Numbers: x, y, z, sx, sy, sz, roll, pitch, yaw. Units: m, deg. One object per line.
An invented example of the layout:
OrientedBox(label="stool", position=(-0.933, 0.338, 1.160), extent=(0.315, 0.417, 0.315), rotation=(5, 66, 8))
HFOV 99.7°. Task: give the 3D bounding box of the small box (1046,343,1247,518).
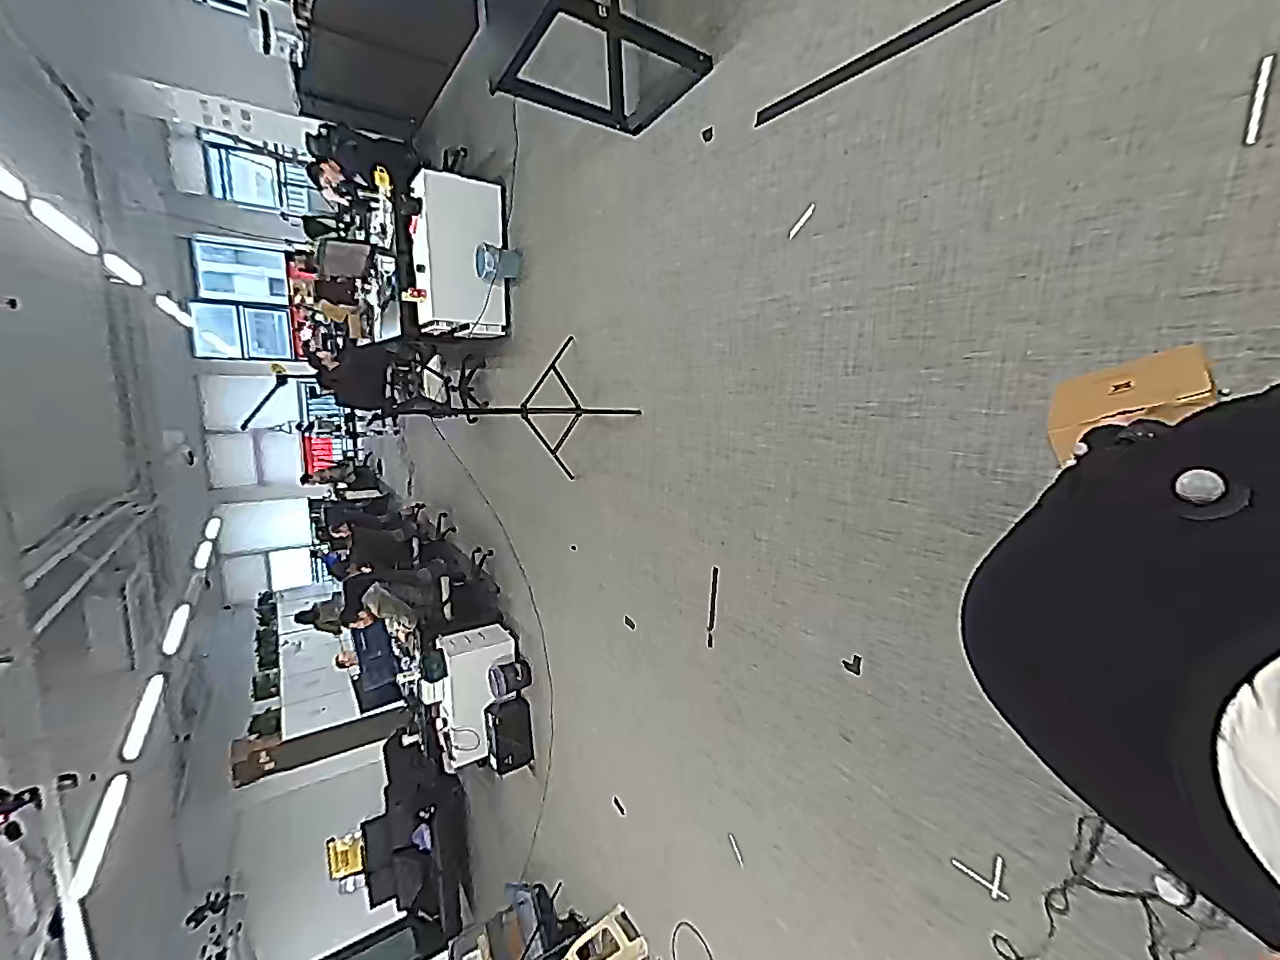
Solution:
OrientedBox(label="small box", position=(0.705, -0.059, 0.759), extent=(0.168, 0.179, 0.176), rotation=(-18, 107, 48))
